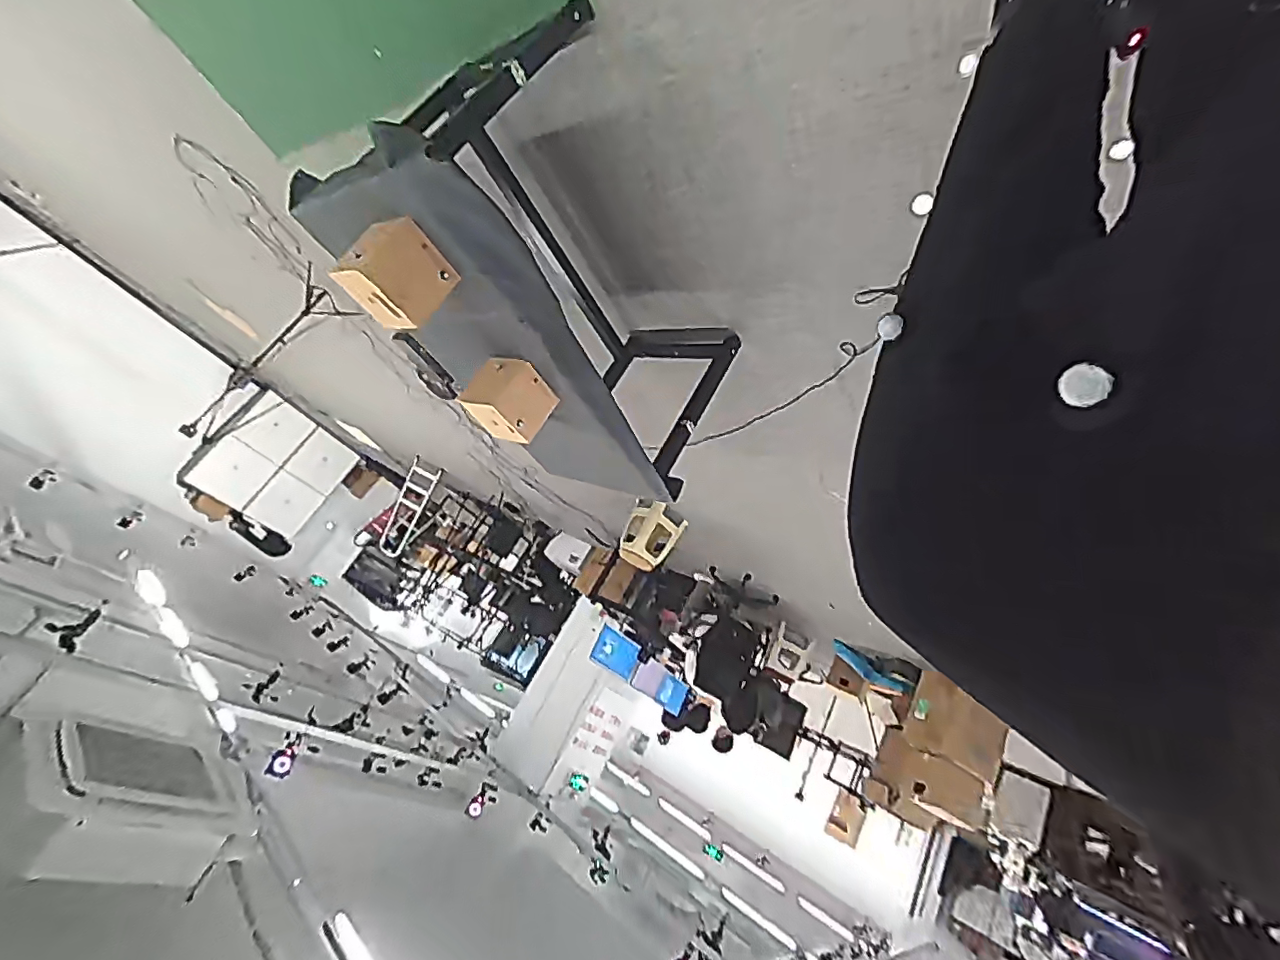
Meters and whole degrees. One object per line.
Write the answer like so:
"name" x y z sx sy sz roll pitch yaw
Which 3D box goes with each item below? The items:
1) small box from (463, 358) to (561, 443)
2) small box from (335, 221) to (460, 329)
"small box" -0.361 -0.231 1.543 0.179 0.176 0.168 14 155 41
"small box" -0.545 -0.469 1.239 0.179 0.176 0.168 16 156 40
